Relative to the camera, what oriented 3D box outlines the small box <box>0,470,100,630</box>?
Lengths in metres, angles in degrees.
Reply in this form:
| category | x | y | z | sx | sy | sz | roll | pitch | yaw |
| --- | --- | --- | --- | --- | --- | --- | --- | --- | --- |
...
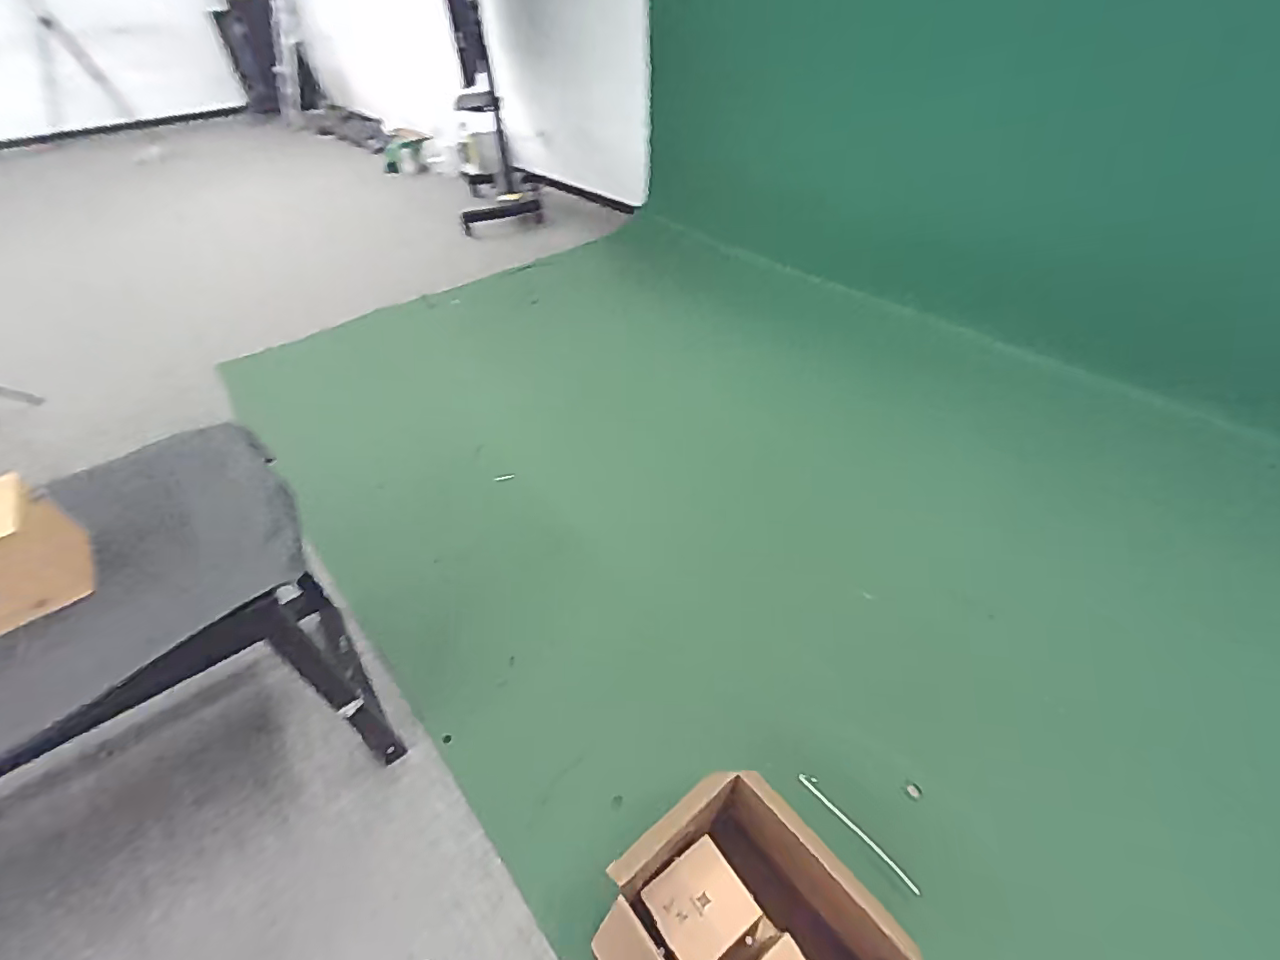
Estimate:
| category | x | y | z | sx | sy | sz | roll | pitch | yaw |
| --- | --- | --- | --- | --- | --- | --- | --- | --- | --- |
| small box | -1.039 | 0.122 | 0.883 | 0.168 | 0.176 | 0.179 | -31 | 51 | -26 |
